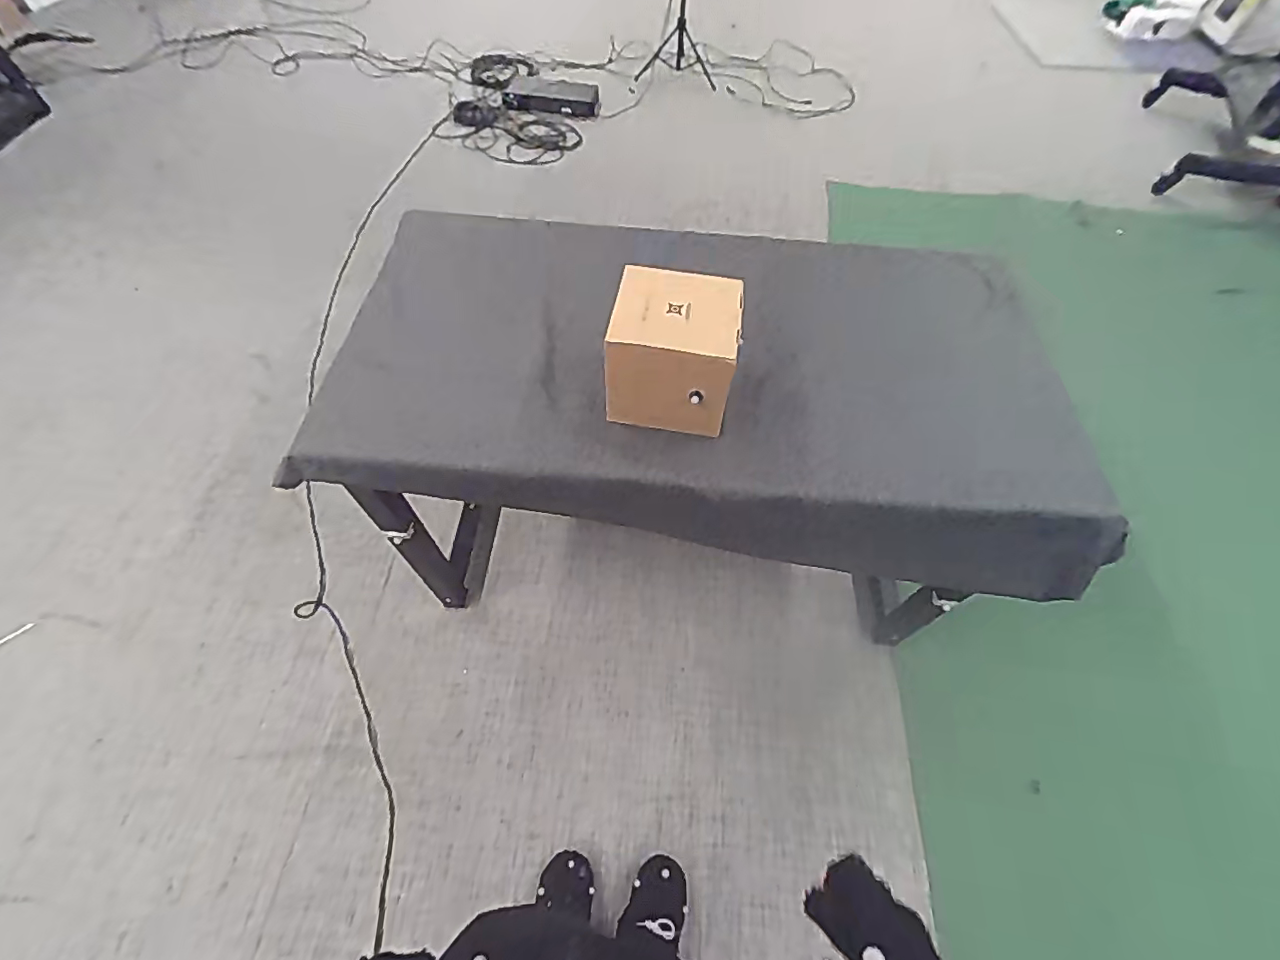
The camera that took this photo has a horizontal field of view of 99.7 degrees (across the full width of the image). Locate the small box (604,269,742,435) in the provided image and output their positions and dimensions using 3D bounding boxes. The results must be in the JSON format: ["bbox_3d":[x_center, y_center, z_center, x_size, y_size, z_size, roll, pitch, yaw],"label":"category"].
[{"bbox_3d":[0.049,-0.186,0.812,0.179,0.176,0.168,8,57,4],"label":"small box"}]
